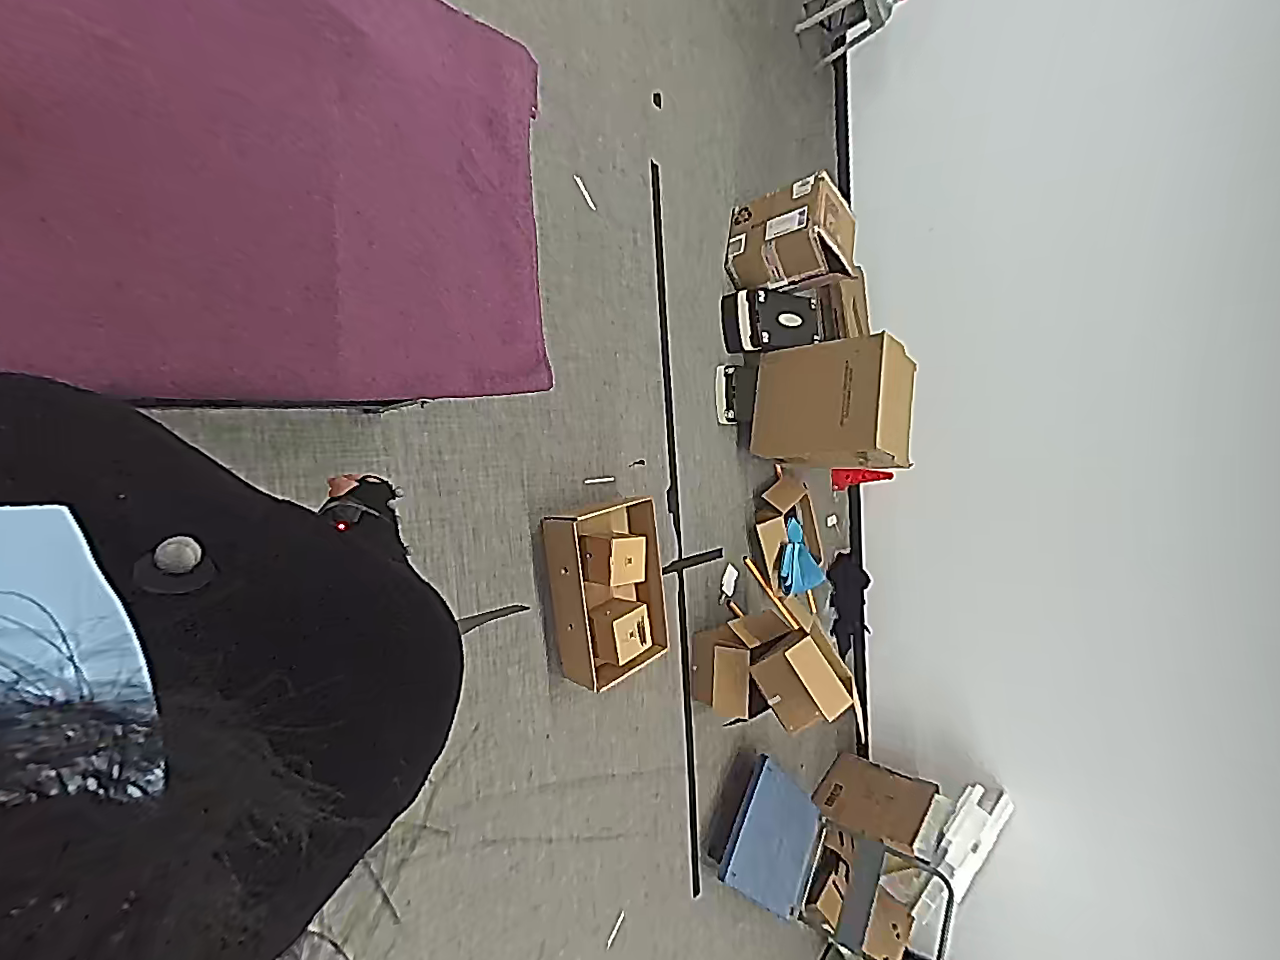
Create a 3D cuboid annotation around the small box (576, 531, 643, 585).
[{"bbox_3d":[-0.109,0.278,1.957,0.179,0.176,0.168,1,91,-47],"label":"small box"}]
